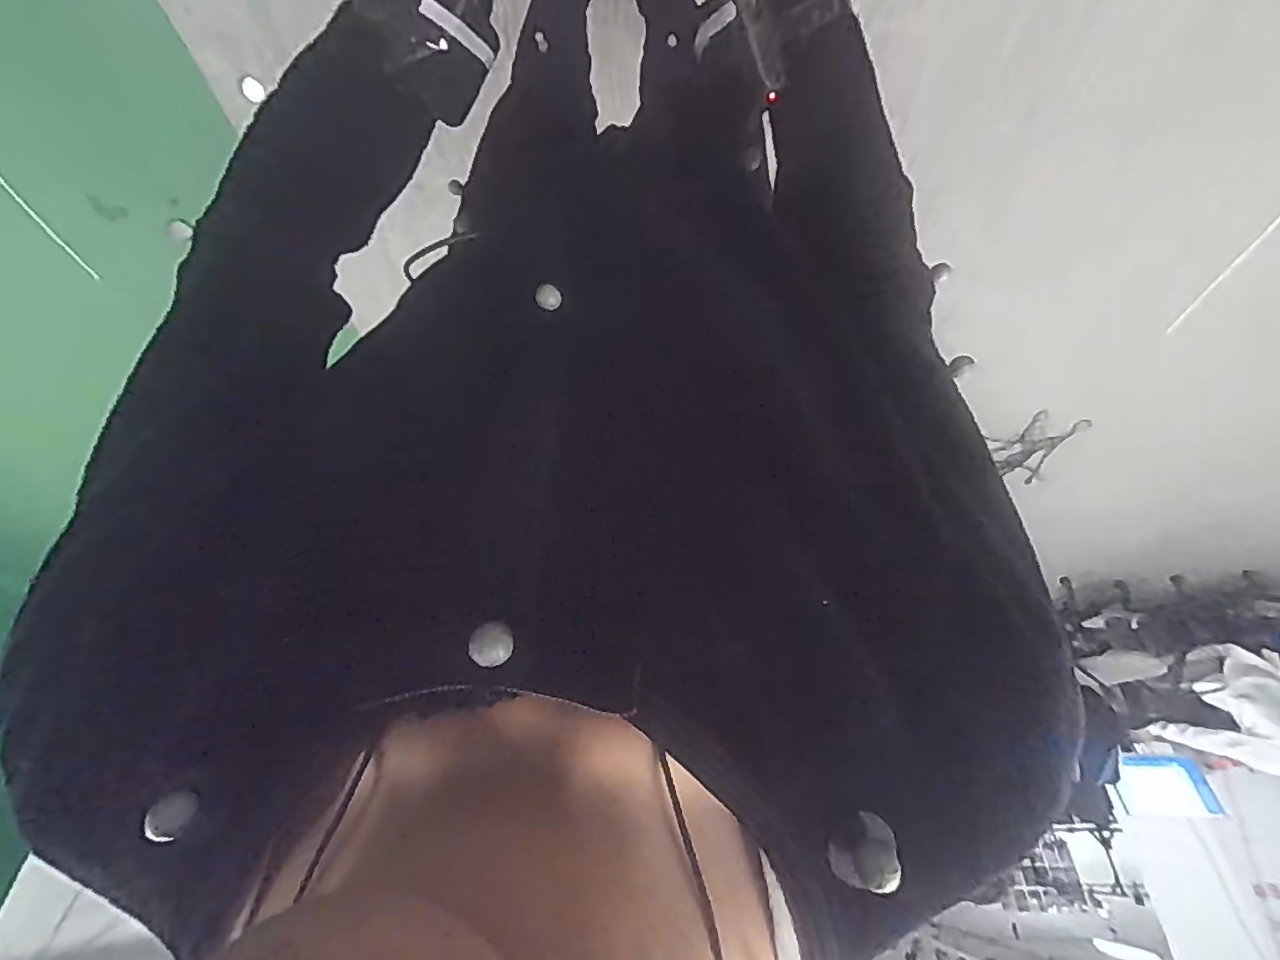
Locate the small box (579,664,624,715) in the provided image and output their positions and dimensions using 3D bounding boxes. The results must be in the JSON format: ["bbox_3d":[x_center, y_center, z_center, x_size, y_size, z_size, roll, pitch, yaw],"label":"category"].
[{"bbox_3d":[-0.157,0.870,2.244,0.179,0.176,0.168,0,145,0],"label":"small box"}]

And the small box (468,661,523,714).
[{"bbox_3d":[-0.590,0.856,2.228,0.168,0.176,0.179,-3,145,3],"label":"small box"}]
